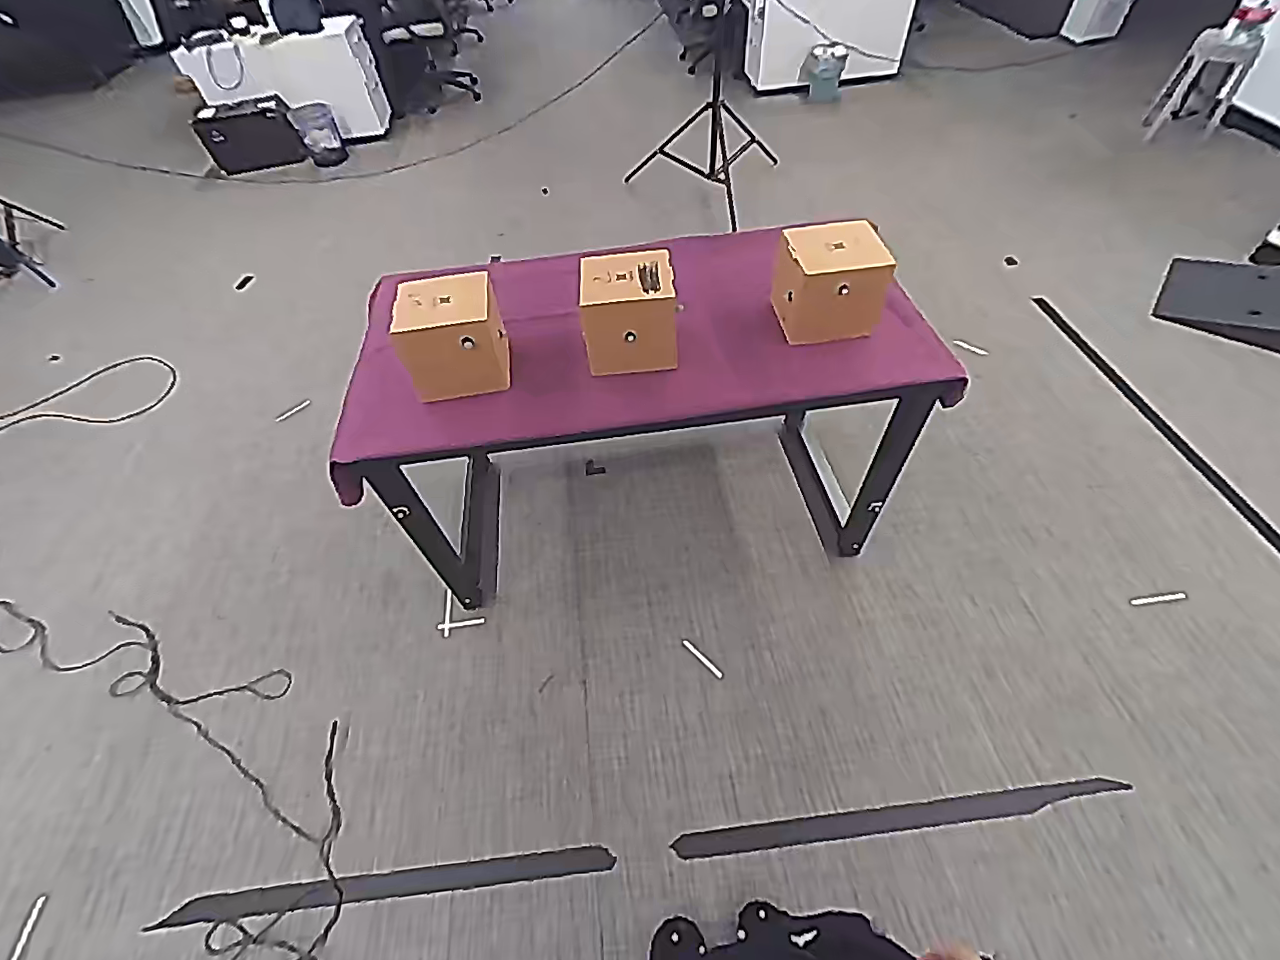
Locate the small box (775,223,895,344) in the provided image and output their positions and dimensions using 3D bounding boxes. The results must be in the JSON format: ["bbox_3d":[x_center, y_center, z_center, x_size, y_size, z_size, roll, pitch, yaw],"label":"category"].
[{"bbox_3d":[0.382,-0.395,1.101,0.179,0.176,0.168,-6,53,-1],"label":"small box"}]

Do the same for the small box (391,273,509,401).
[{"bbox_3d":[-0.361,-0.279,1.066,0.179,0.176,0.168,-10,51,-3],"label":"small box"}]
